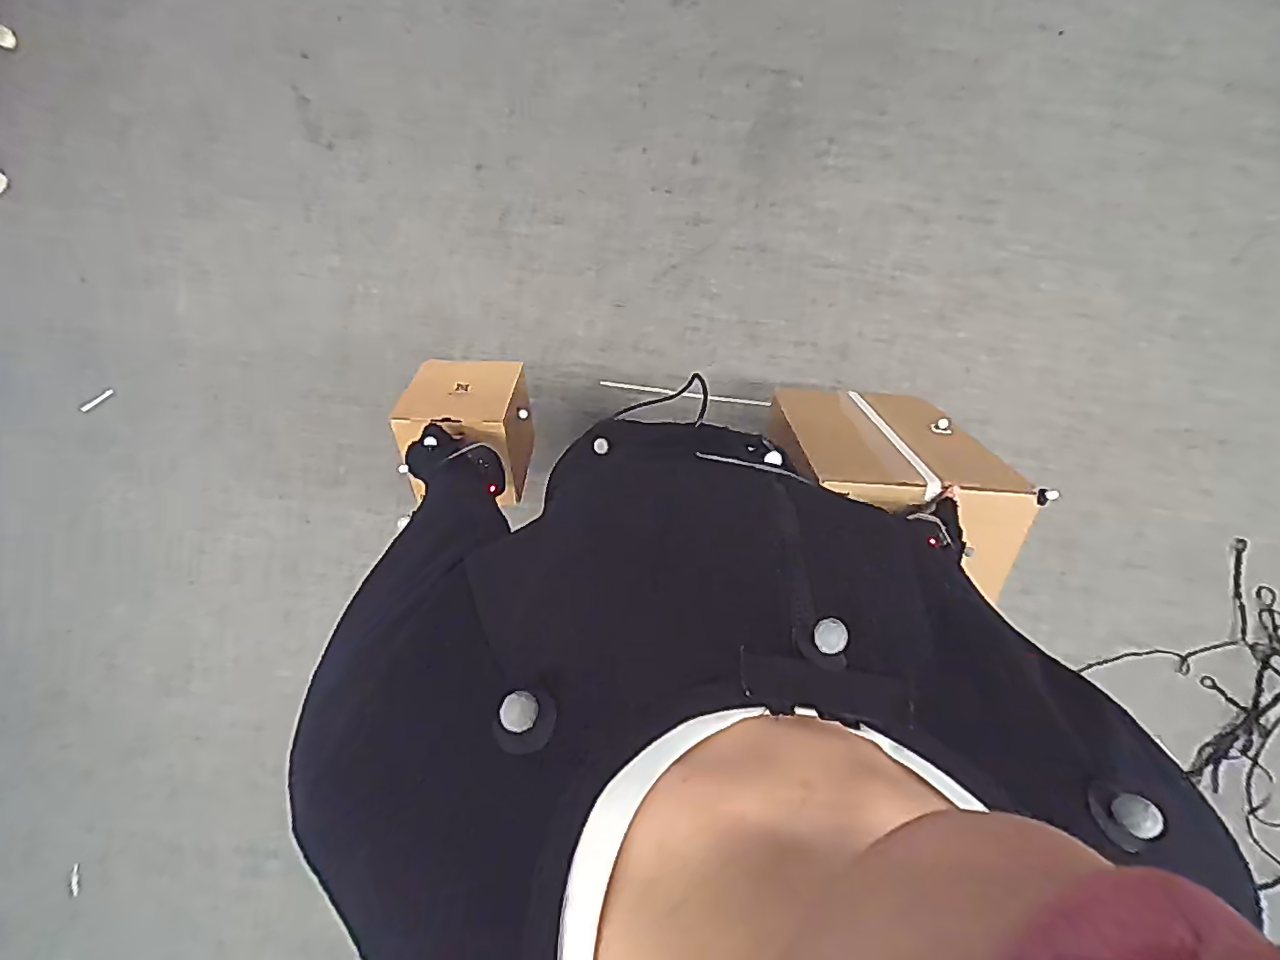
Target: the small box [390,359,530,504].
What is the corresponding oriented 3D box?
[{"bbox_3d":[-0.281,-0.082,0.891,0.168,0.179,0.176,1,131,0],"label":"small box"}]
